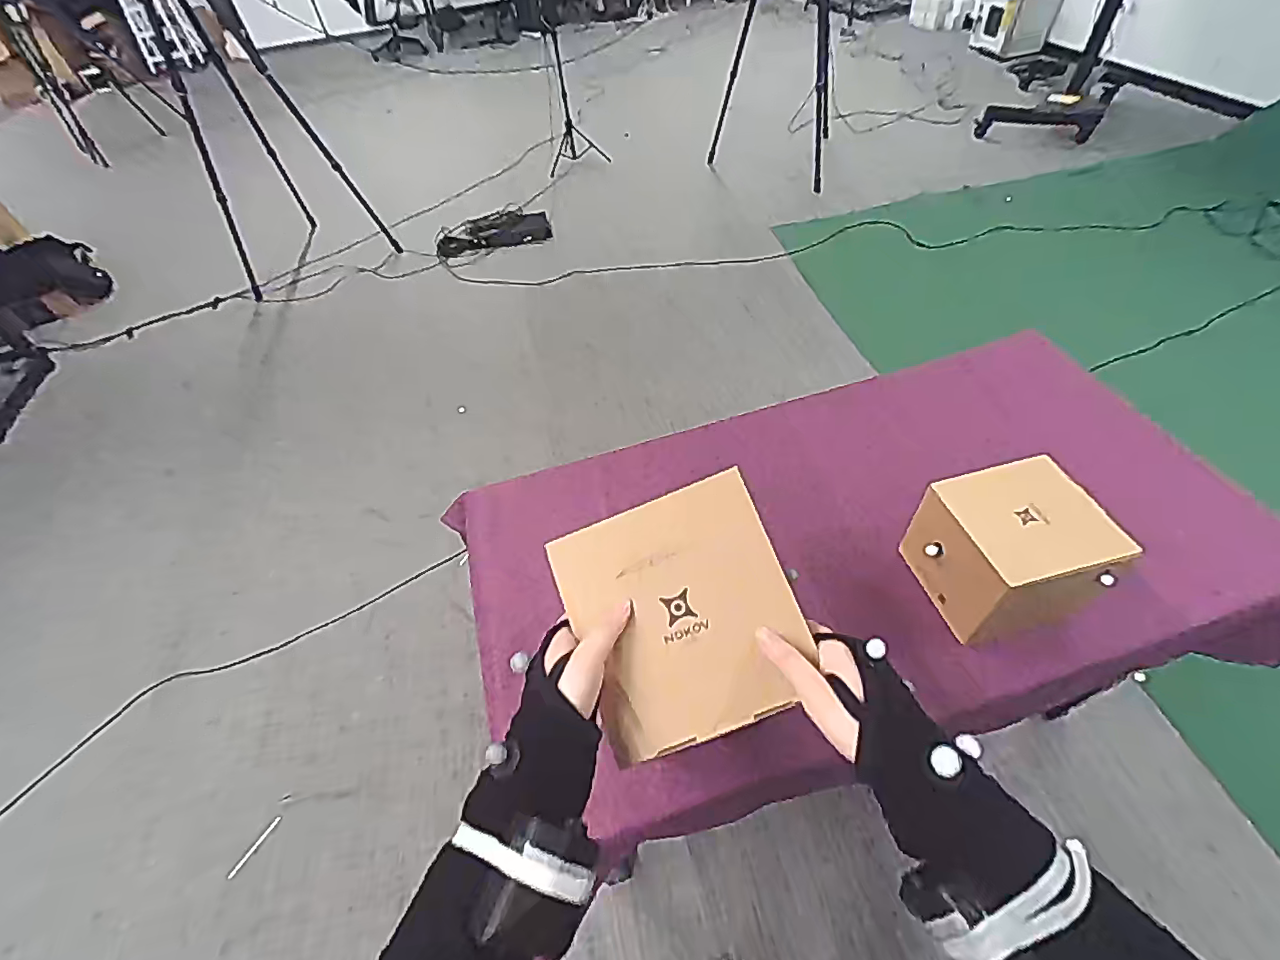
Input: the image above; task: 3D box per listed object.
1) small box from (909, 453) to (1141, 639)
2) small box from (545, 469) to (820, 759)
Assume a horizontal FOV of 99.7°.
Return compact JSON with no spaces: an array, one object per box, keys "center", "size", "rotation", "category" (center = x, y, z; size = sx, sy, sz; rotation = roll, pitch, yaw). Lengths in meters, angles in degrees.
[{"center":[0.495,0.095,0.737],"size":[0.179,0.176,0.168],"rotation":[-14,50,-4],"category":"small box"},{"center":[0.039,0.114,0.483],"size":[0.168,0.176,0.179],"rotation":[-21,74,3],"category":"small box"}]
